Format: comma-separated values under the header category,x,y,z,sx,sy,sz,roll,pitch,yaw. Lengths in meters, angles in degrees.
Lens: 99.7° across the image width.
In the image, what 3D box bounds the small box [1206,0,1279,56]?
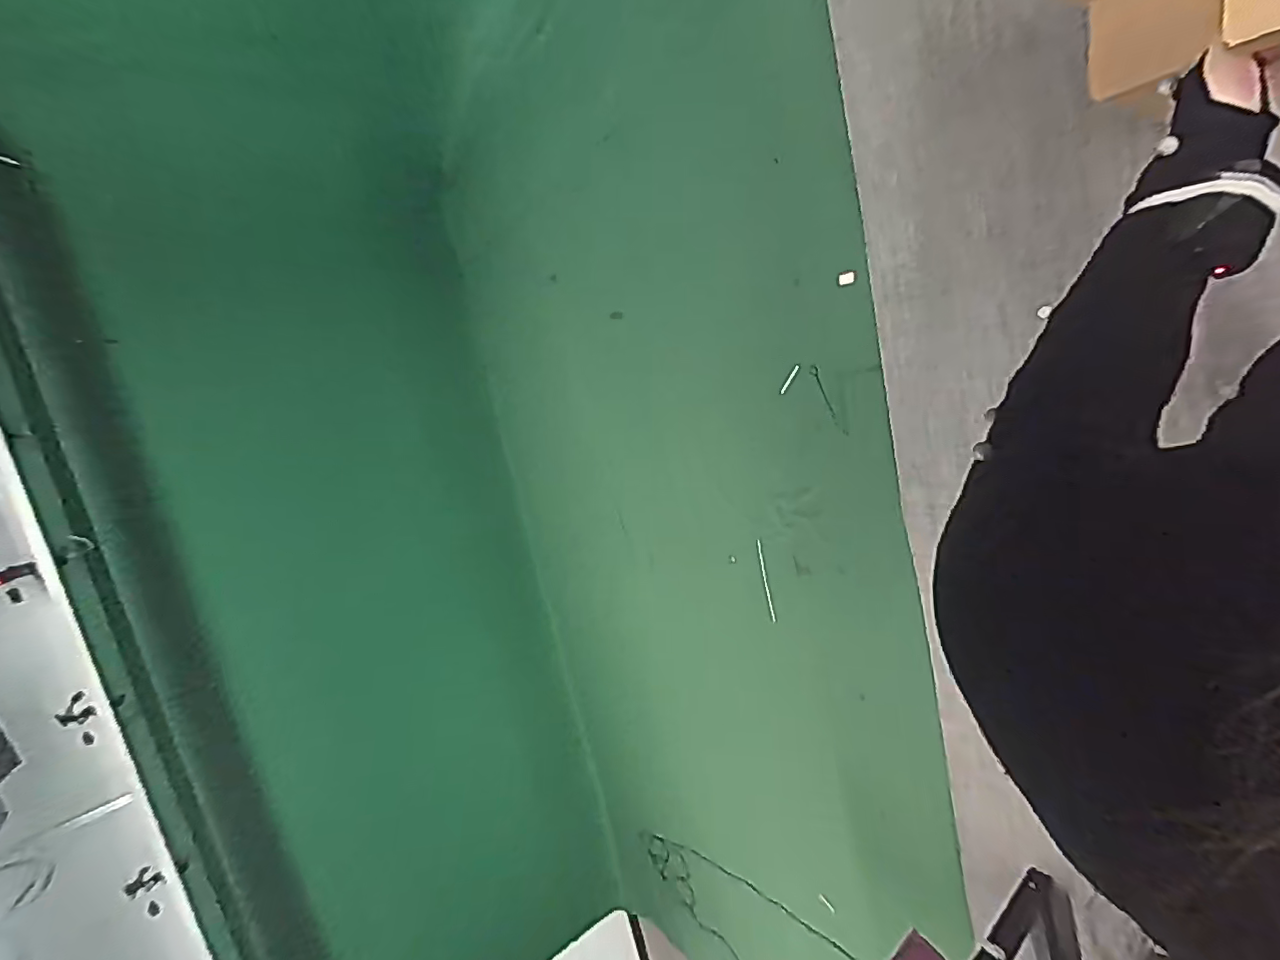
category,x,y,z,sx,sy,sz,roll,pitch,yaw
small box,0.450,-0.365,0.292,0.168,0.176,0.179,12,119,52
